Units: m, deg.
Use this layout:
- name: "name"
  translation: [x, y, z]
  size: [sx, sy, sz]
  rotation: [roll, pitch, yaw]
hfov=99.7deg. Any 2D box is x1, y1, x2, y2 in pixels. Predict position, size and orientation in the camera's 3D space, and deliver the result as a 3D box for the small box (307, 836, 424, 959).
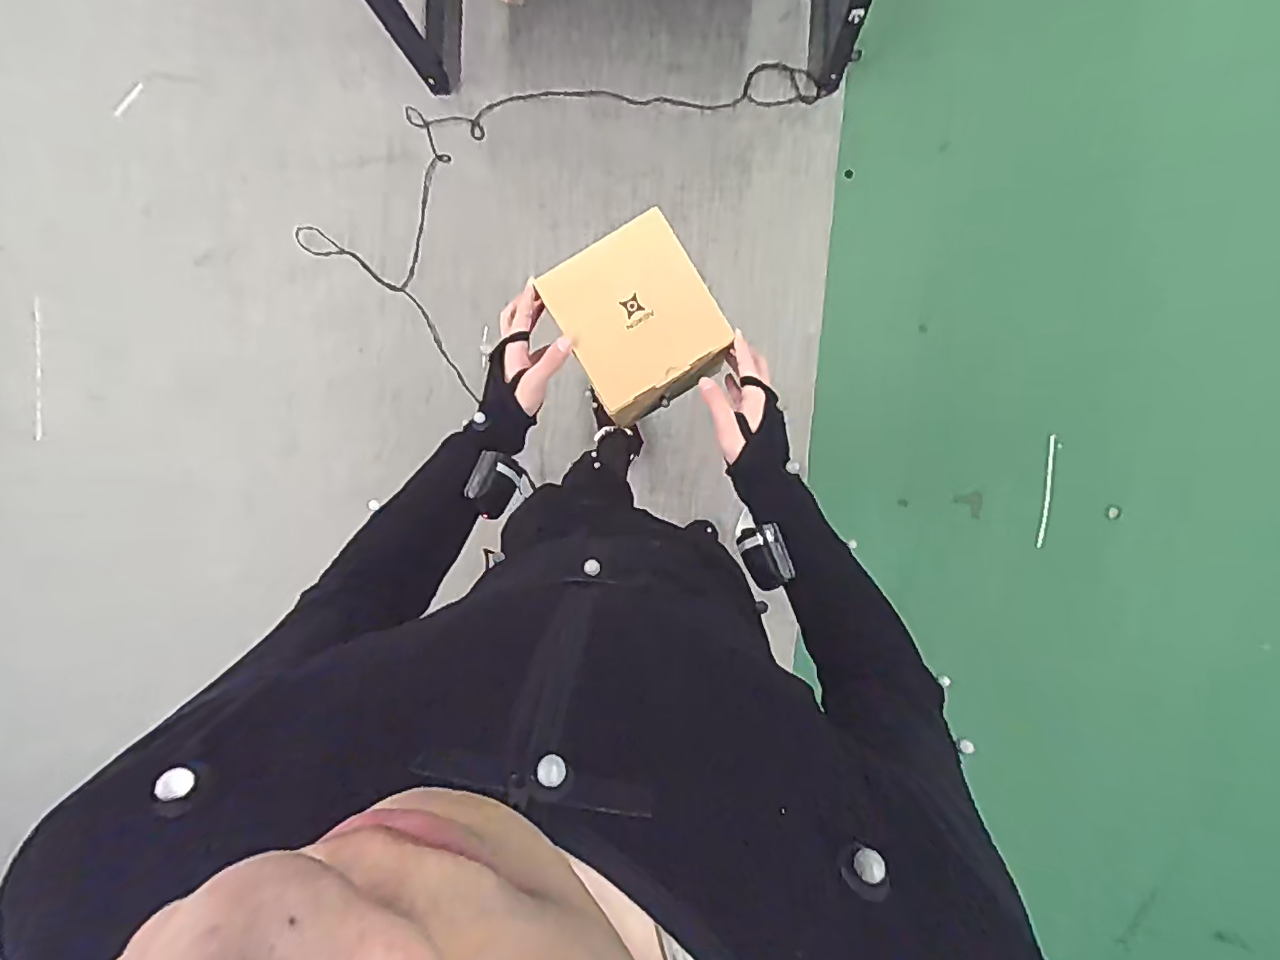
- name: "small box"
  translation: [-0.638, 0.994, 1.277]
  size: [0.168, 0.176, 0.179]
  rotation: [17, 95, 6]
